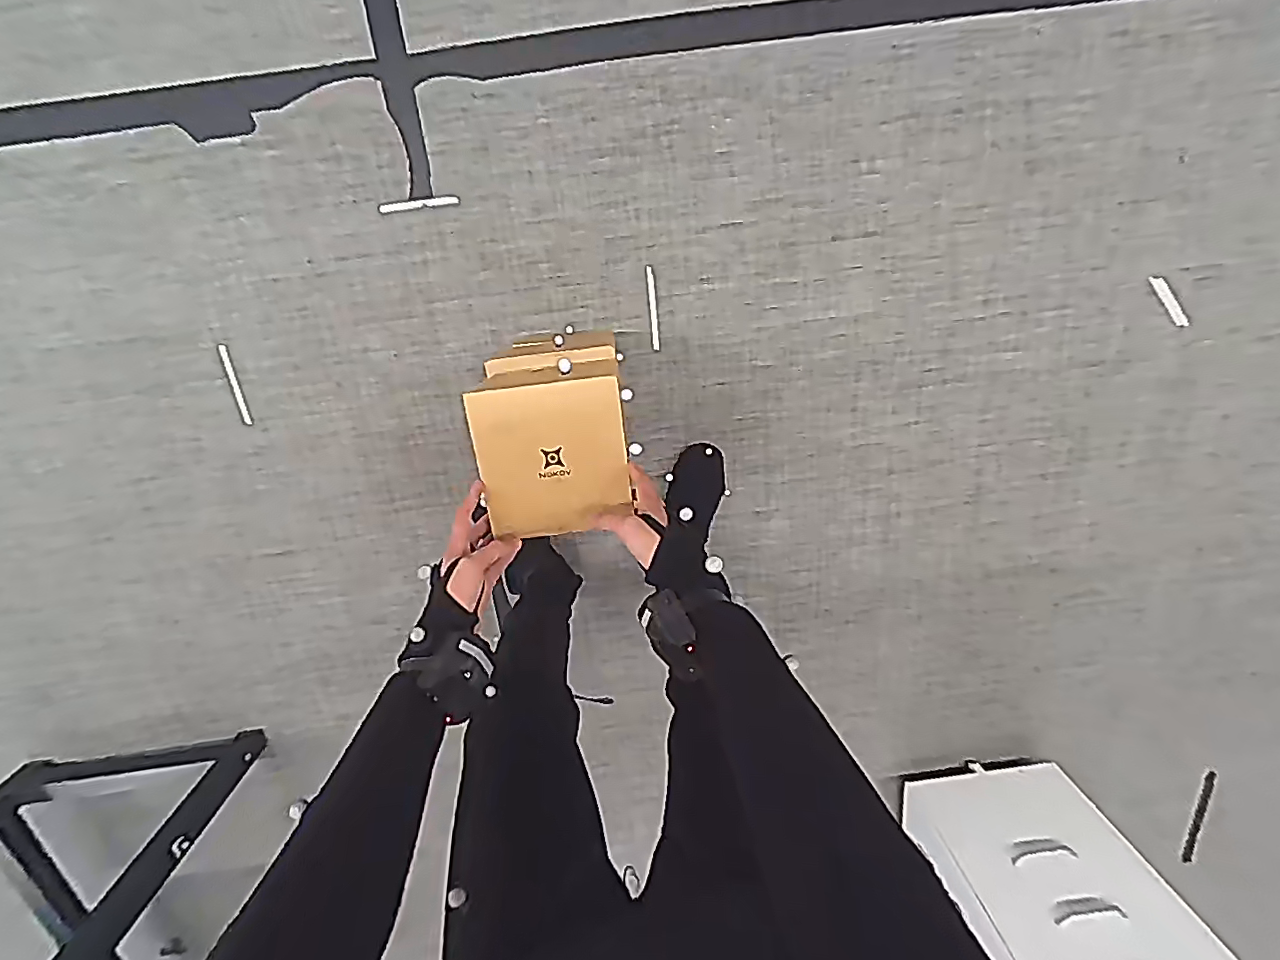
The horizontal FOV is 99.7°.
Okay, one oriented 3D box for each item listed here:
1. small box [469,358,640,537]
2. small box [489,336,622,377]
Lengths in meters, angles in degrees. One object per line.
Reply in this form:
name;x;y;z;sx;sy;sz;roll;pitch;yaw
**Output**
small box;-0.094;-0.051;0.664;0.168;0.176;0.179;-7;110;-1
small box;-0.109;-0.120;0.811;0.179;0.176;0.168;-7;110;-1
